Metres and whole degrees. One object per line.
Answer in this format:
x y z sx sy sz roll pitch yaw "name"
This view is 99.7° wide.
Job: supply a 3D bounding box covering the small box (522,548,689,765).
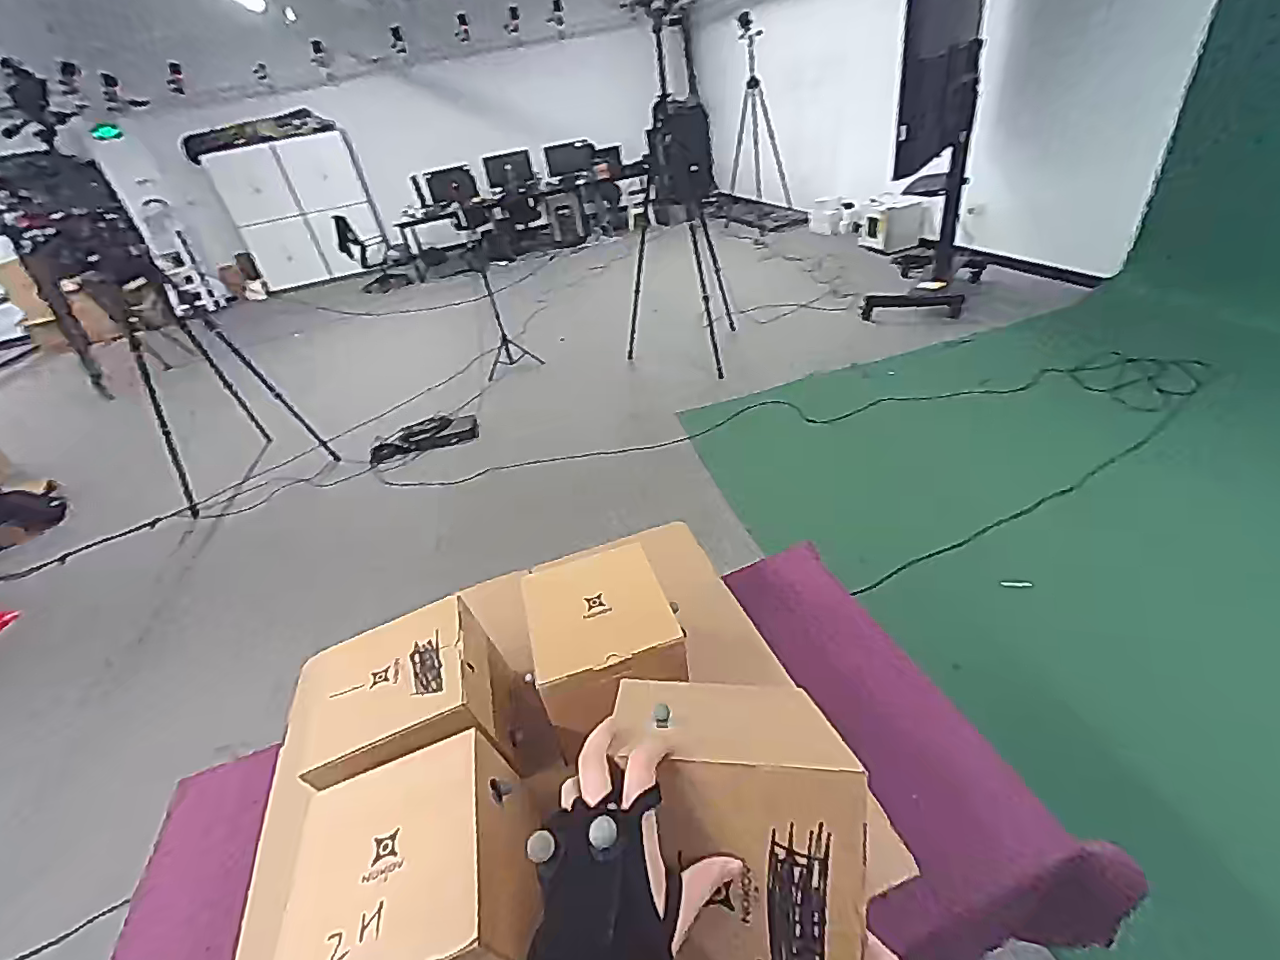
-0.045 0.221 0.695 0.168 0.176 0.179 -16 36 -10 "small box"
